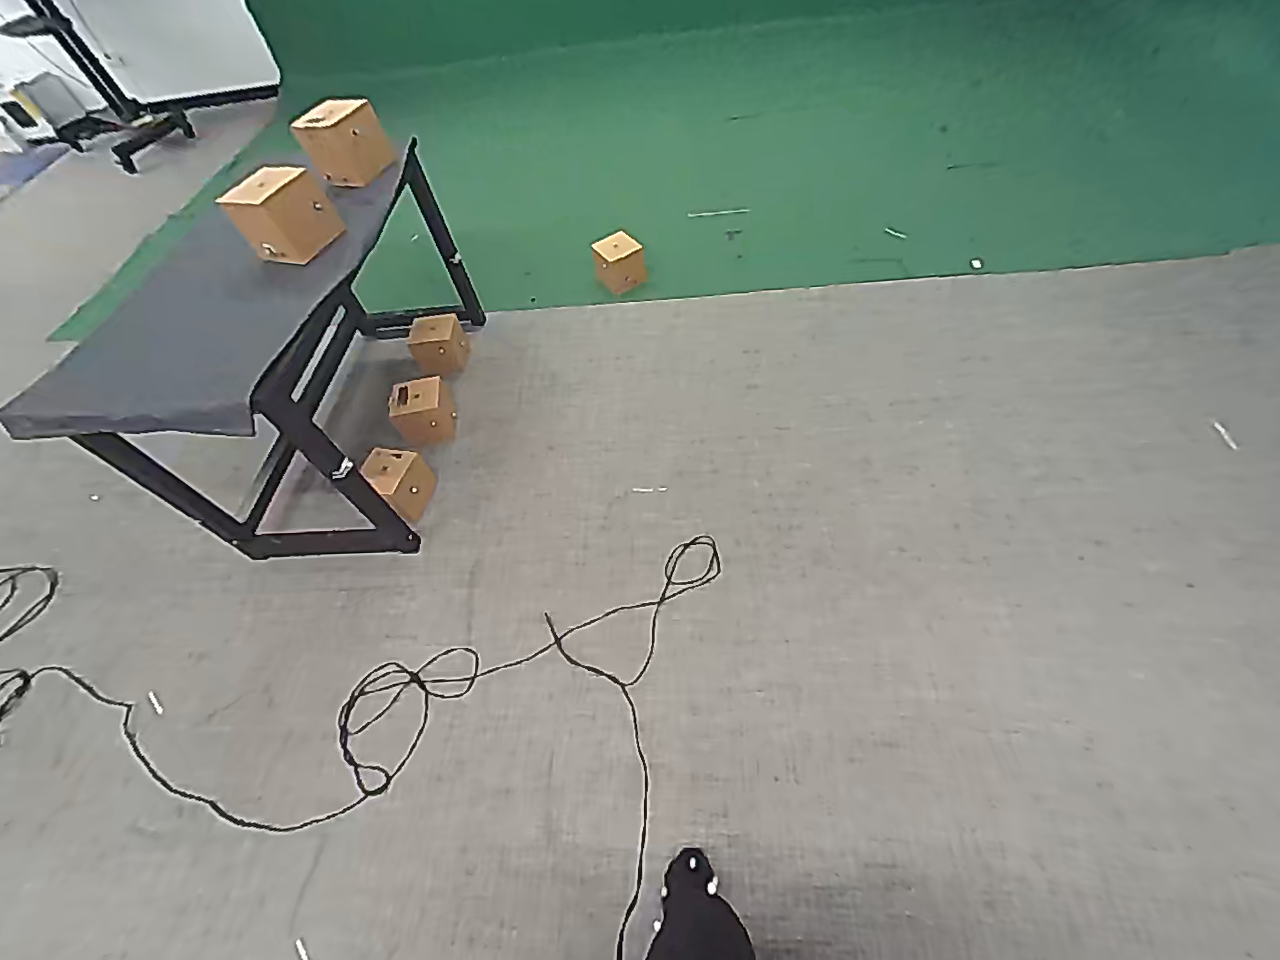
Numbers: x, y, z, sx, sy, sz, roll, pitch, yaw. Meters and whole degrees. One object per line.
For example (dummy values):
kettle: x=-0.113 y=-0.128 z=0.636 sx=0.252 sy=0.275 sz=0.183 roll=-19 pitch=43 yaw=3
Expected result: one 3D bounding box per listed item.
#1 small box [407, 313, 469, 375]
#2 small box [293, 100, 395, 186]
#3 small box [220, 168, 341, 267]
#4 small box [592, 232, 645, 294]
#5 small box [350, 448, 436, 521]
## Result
small box: x=-0.813 y=-0.550 z=2.199 sx=0.179 sy=0.176 sz=0.168 roll=-6 pitch=54 yaw=3
small box: x=-0.887 y=-1.017 z=1.638 sx=0.168 sy=0.176 sz=0.179 roll=14 pitch=59 yaw=20
small box: x=-0.927 y=-0.690 z=1.419 sx=0.168 sy=0.176 sz=0.179 roll=13 pitch=59 yaw=20
small box: x=-0.092 y=-0.958 z=2.392 sx=0.168 sy=0.176 sz=0.179 roll=-32 pitch=57 yaw=-14
small box: x=-0.811 y=0.018 z=1.800 sx=0.168 sy=0.176 sz=0.179 roll=8 pitch=57 yaw=13
